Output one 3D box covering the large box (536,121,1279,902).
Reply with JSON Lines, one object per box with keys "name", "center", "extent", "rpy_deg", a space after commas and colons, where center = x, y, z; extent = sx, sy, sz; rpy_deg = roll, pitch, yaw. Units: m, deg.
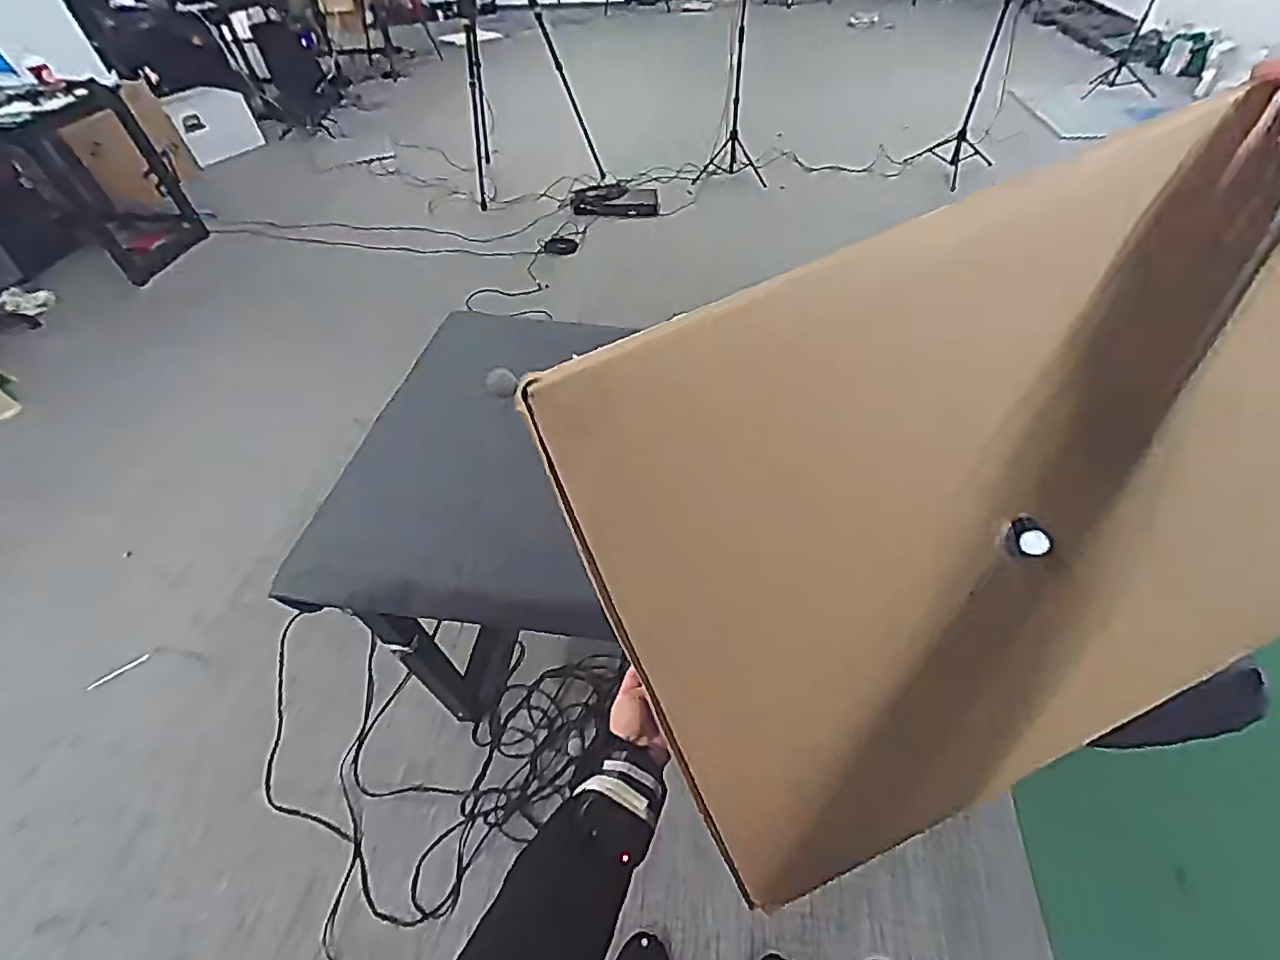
{"name": "large box", "center": [0.168, 0.004, 0.438], "extent": [0.408, 0.320, 0.320], "rpy_deg": [-26, 13, -7]}
